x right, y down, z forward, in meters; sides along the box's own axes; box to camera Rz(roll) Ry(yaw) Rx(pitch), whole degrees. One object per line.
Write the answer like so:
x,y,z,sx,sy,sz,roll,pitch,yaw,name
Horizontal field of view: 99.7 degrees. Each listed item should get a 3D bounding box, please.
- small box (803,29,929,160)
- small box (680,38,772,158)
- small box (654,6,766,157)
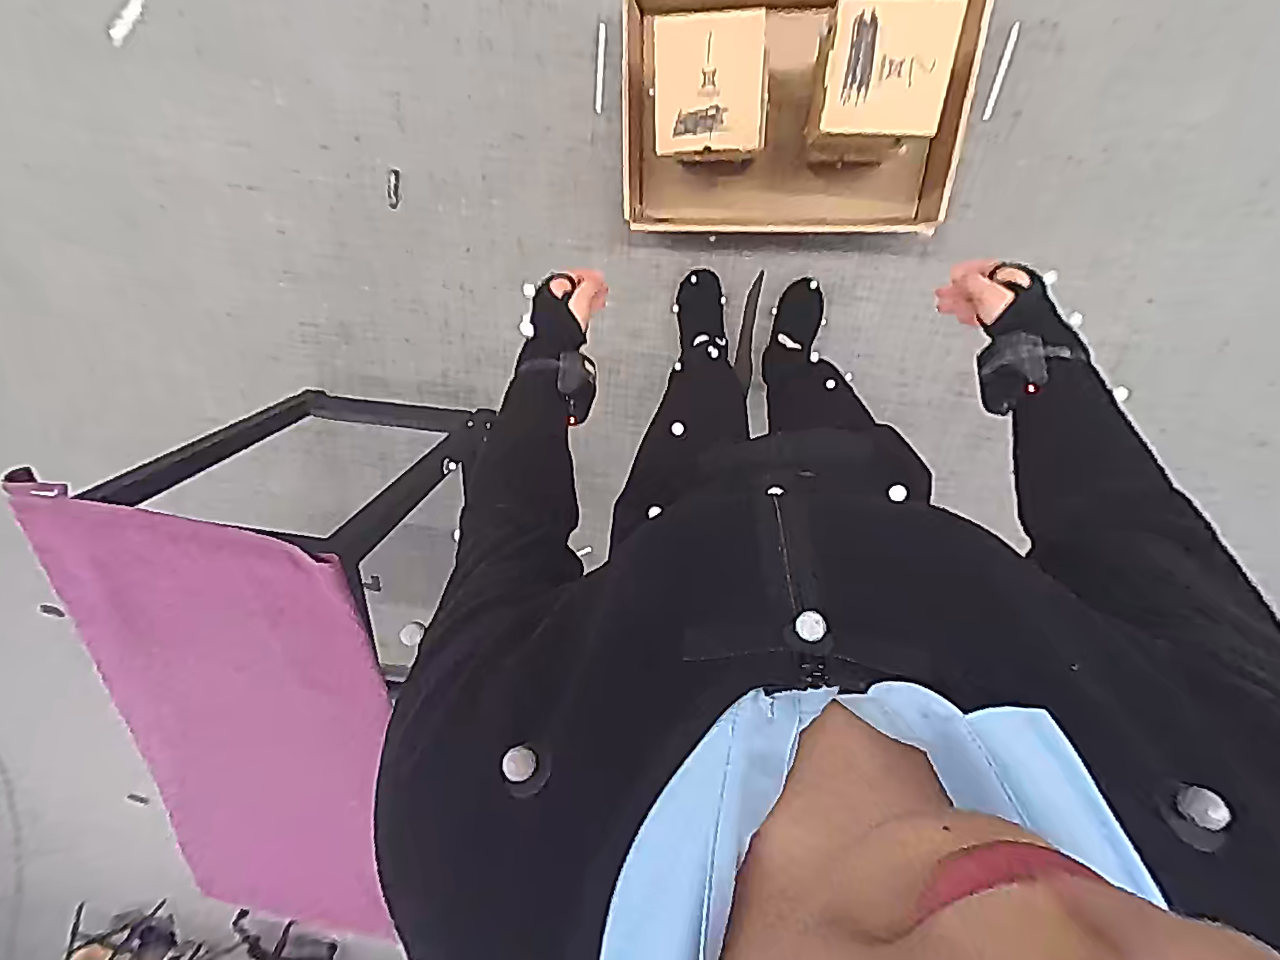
0.406,-0.704,1.006,0.168,0.176,0.179,4,118,7,small box
0.148,-0.719,1.033,0.179,0.176,0.168,2,116,6,small box
0.112,-0.640,0.892,0.168,0.176,0.179,1,116,6,small box
